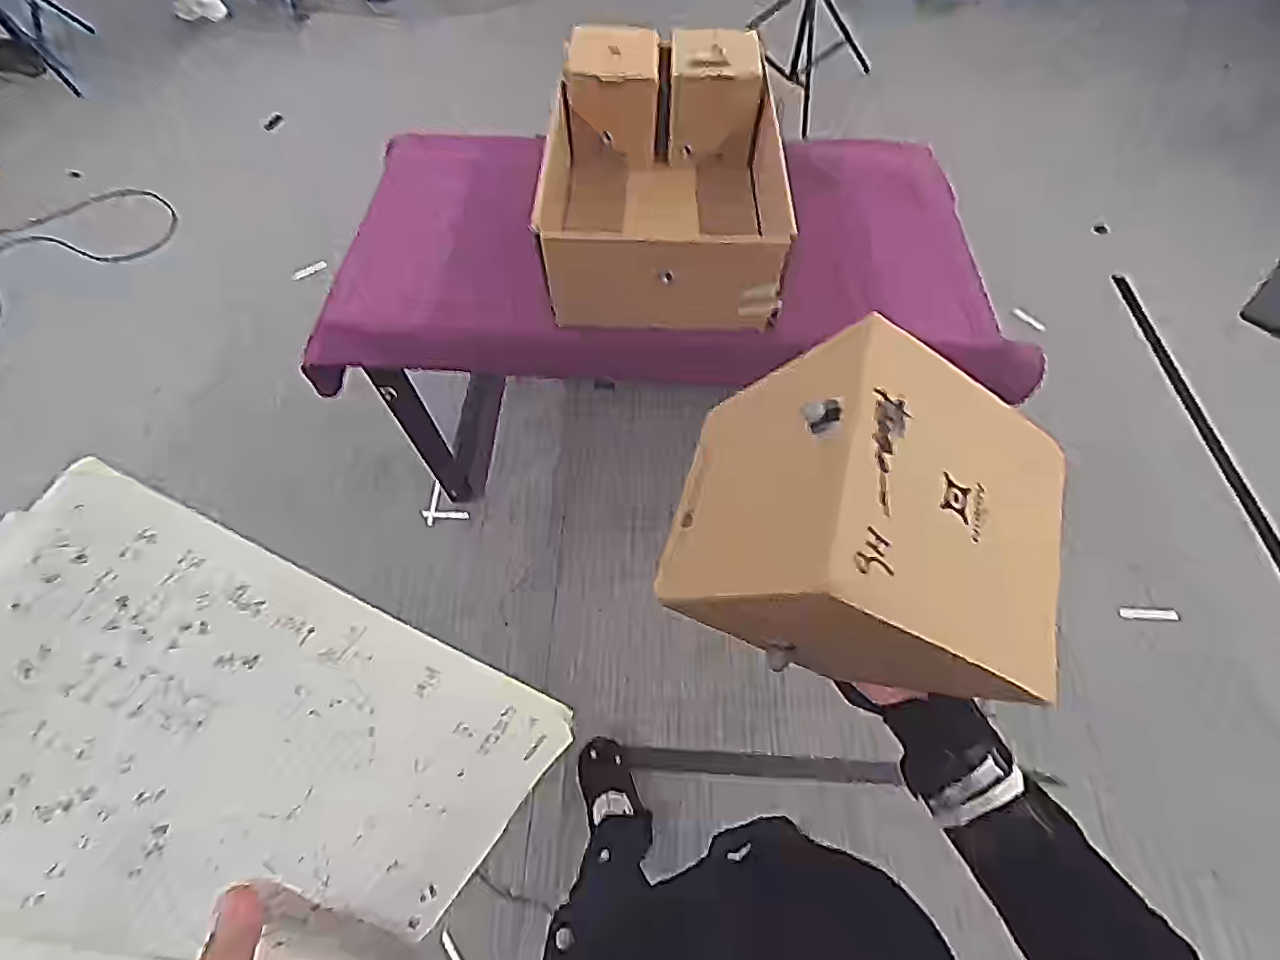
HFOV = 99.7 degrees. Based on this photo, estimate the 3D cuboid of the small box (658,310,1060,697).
[{"bbox_3d":[0.142,0.028,0.367,0.179,0.176,0.168,28,66,-20],"label":"small box"}]
